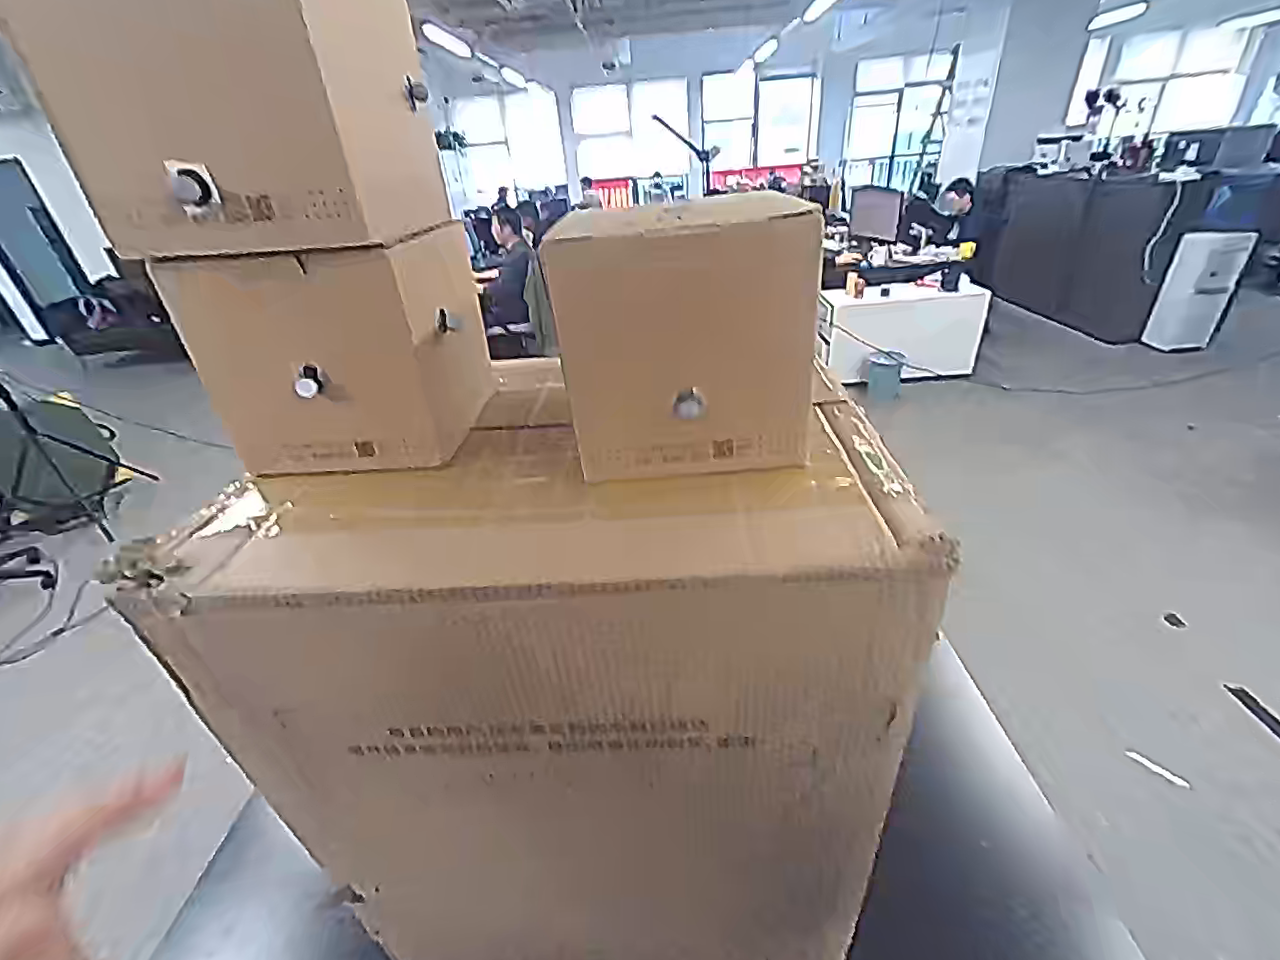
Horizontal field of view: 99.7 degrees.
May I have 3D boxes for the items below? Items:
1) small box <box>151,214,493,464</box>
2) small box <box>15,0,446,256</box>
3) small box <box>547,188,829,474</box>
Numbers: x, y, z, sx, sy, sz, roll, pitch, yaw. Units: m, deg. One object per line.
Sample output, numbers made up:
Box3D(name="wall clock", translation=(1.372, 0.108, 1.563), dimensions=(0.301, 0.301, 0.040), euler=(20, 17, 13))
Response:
Box3D(name="small box", translation=(-0.236, -0.121, 0.464), dimensions=(0.168, 0.176, 0.179), euler=(-3, 31, 2))
Box3D(name="small box", translation=(-0.248, -0.254, 0.369), dimensions=(0.168, 0.176, 0.179), euler=(-4, 31, 1))
Box3D(name="small box", translation=(0.035, -0.121, 0.420), dimensions=(0.168, 0.176, 0.179), euler=(-5, 31, 4))
